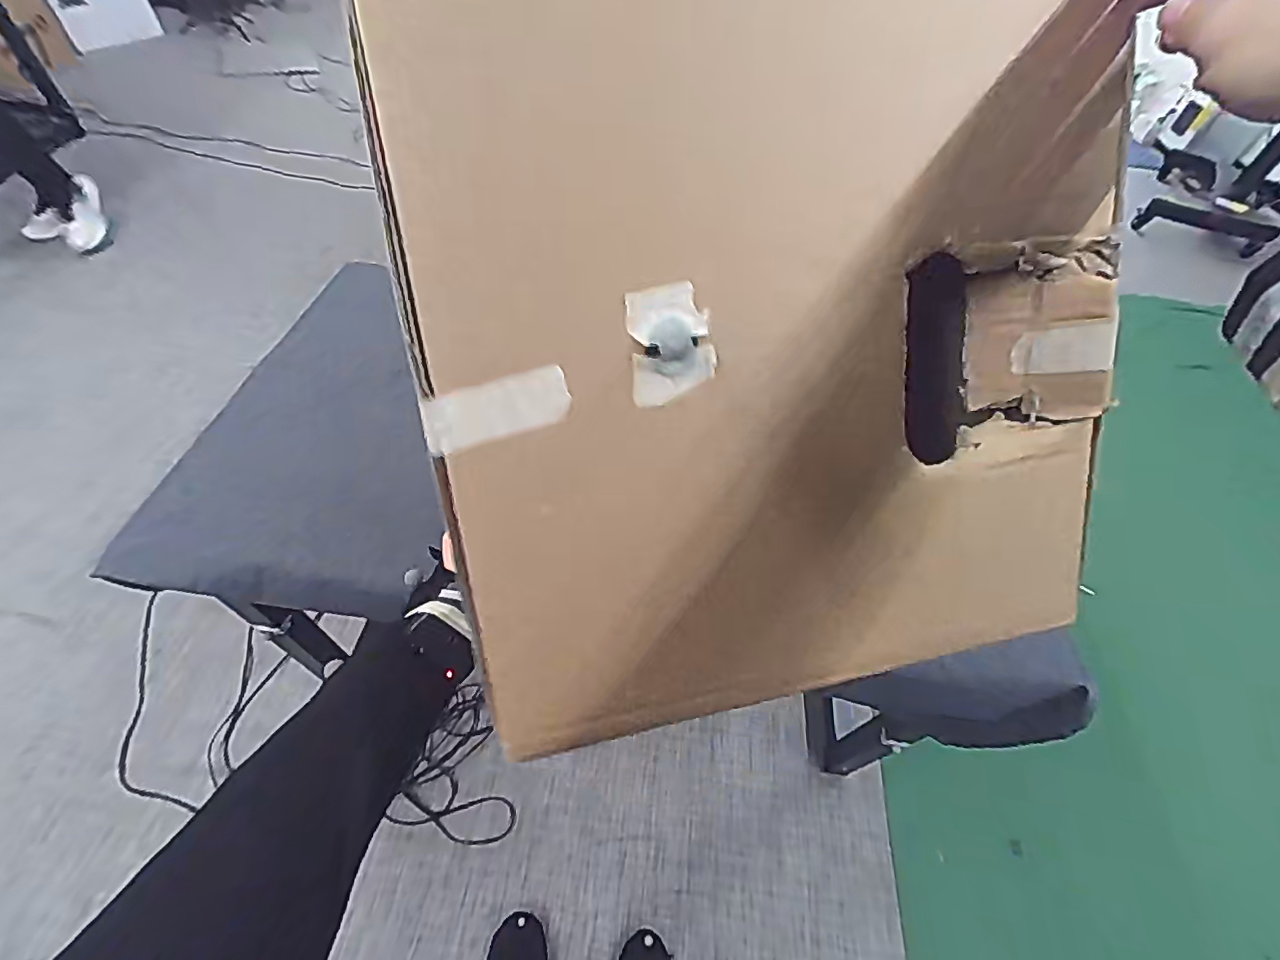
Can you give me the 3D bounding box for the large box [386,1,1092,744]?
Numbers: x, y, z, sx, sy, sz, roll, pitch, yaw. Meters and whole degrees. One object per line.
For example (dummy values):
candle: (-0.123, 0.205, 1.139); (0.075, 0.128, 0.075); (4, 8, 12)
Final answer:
large box: (0.026, -0.087, 0.429); (0.320, 0.320, 0.408); (-10, 15, -12)
